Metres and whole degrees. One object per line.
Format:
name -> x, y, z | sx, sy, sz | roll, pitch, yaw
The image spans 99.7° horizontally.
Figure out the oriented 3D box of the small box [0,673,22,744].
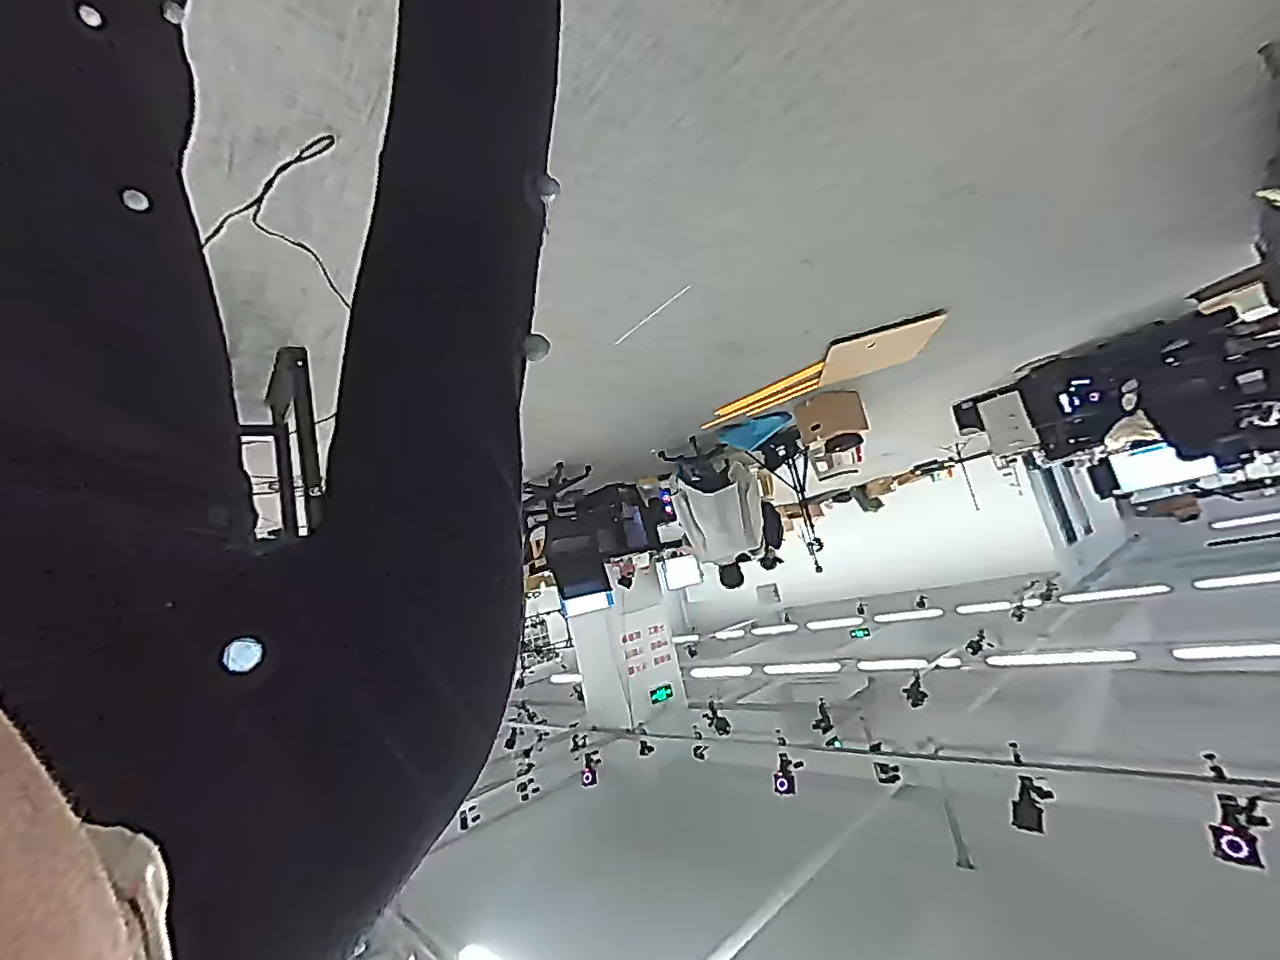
small box -> -1.655, 0.579, 1.323 | 0.168, 0.176, 0.179 | -3, 164, -41
